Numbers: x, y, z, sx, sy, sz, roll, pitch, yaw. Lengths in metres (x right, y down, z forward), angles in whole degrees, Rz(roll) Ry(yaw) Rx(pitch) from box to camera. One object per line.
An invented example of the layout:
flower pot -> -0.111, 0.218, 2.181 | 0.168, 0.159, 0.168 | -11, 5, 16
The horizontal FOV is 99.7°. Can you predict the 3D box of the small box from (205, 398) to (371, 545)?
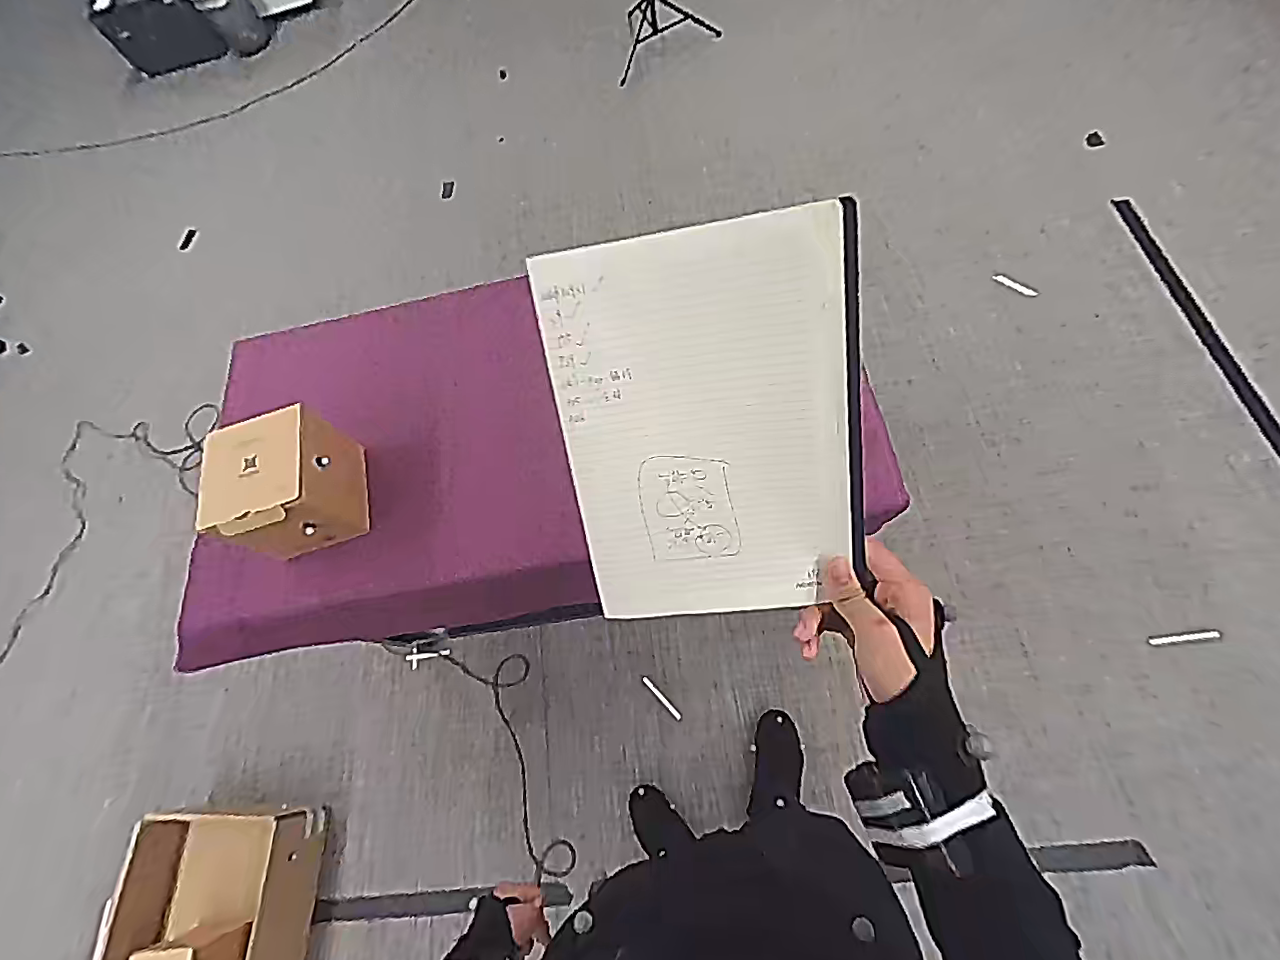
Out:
small box -> -0.572, -0.003, 0.899 | 0.168, 0.176, 0.179 | -16, 66, 3
